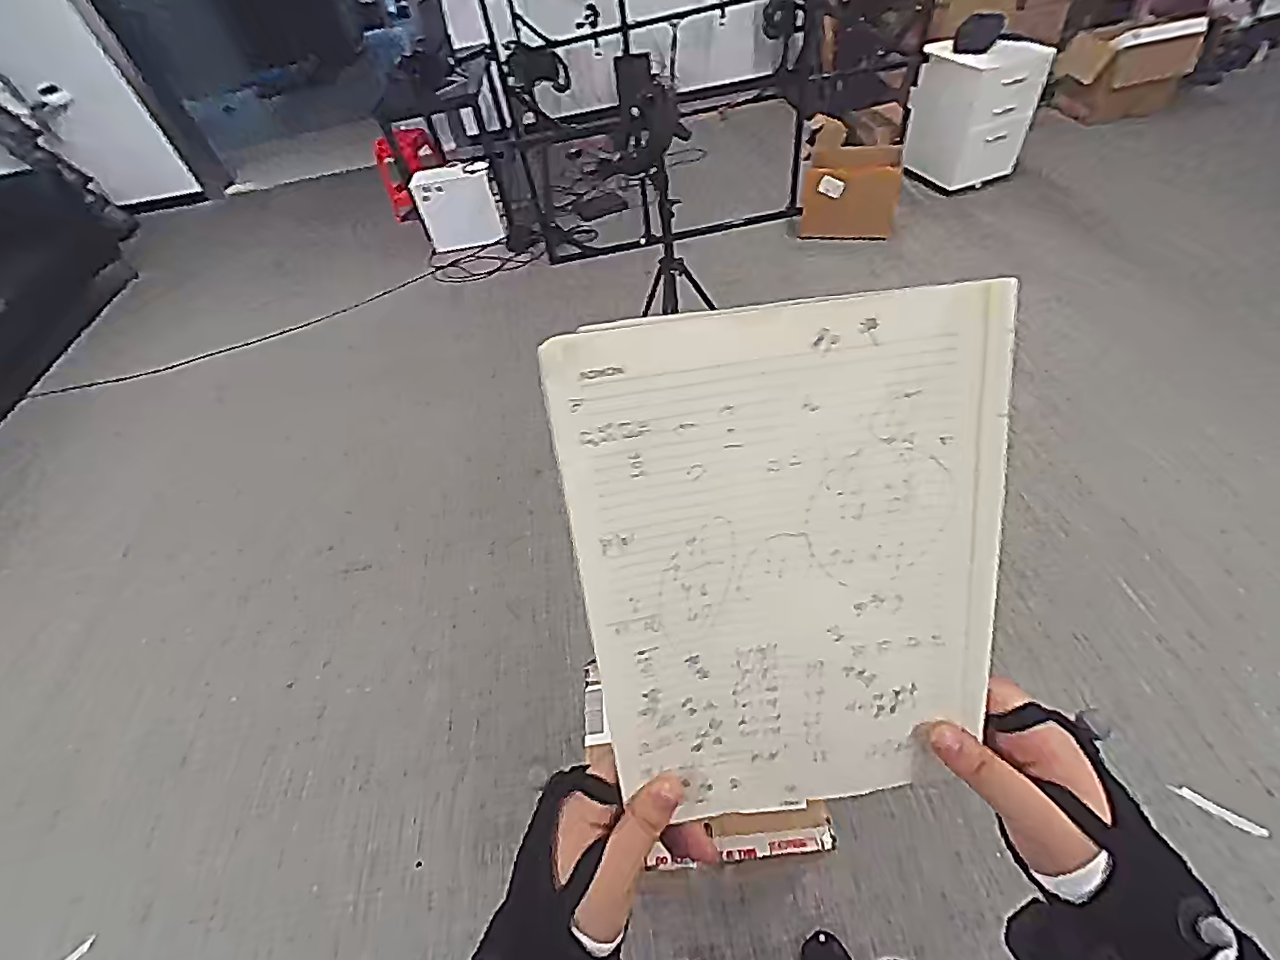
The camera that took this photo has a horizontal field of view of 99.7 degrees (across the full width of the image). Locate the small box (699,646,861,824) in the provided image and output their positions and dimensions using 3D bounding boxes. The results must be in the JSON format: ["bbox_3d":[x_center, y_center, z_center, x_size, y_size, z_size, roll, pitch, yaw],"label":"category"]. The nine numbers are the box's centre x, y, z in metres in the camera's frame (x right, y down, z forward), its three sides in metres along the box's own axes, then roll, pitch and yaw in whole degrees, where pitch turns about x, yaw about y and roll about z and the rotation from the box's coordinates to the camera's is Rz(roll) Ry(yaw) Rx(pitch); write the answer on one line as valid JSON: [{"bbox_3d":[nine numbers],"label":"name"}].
[{"bbox_3d":[0.166,0.337,0.711,0.168,0.176,0.179,-4,51,3],"label":"small box"}]

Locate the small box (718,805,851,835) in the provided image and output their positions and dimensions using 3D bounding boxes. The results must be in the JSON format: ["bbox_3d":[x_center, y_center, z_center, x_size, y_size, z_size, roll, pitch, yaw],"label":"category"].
[{"bbox_3d":[0.200,0.438,0.838,0.179,0.176,0.168,-8,50,1],"label":"small box"}]
